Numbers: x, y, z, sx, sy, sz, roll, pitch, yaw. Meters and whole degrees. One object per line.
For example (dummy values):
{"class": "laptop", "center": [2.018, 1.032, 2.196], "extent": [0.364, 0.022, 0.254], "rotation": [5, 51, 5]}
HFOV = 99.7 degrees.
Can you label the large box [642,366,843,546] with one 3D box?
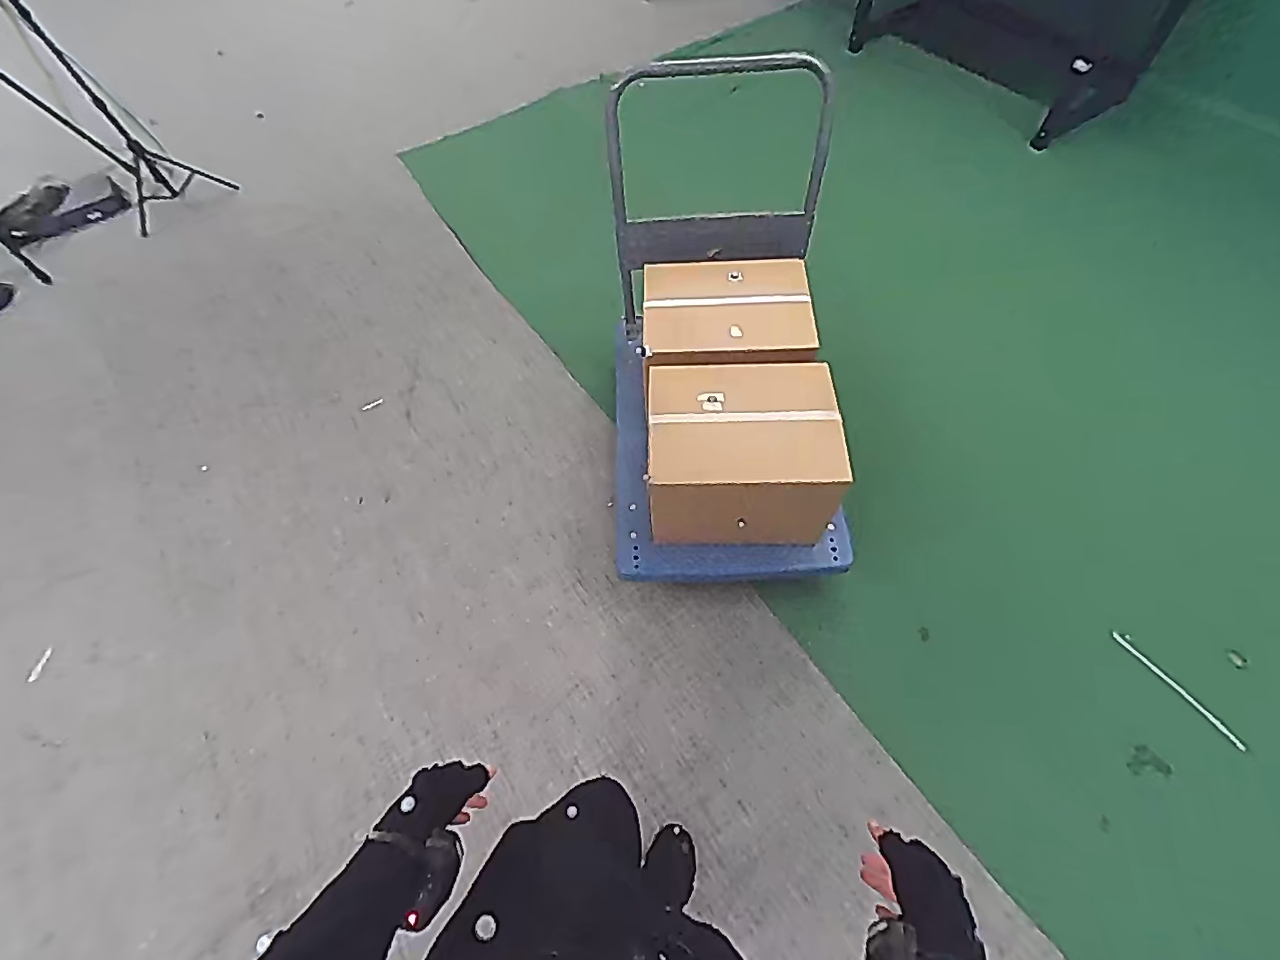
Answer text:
{"class": "large box", "center": [0.214, -0.043, 1.272], "extent": [0.408, 0.320, 0.320], "rotation": [-1, 60, 4]}
